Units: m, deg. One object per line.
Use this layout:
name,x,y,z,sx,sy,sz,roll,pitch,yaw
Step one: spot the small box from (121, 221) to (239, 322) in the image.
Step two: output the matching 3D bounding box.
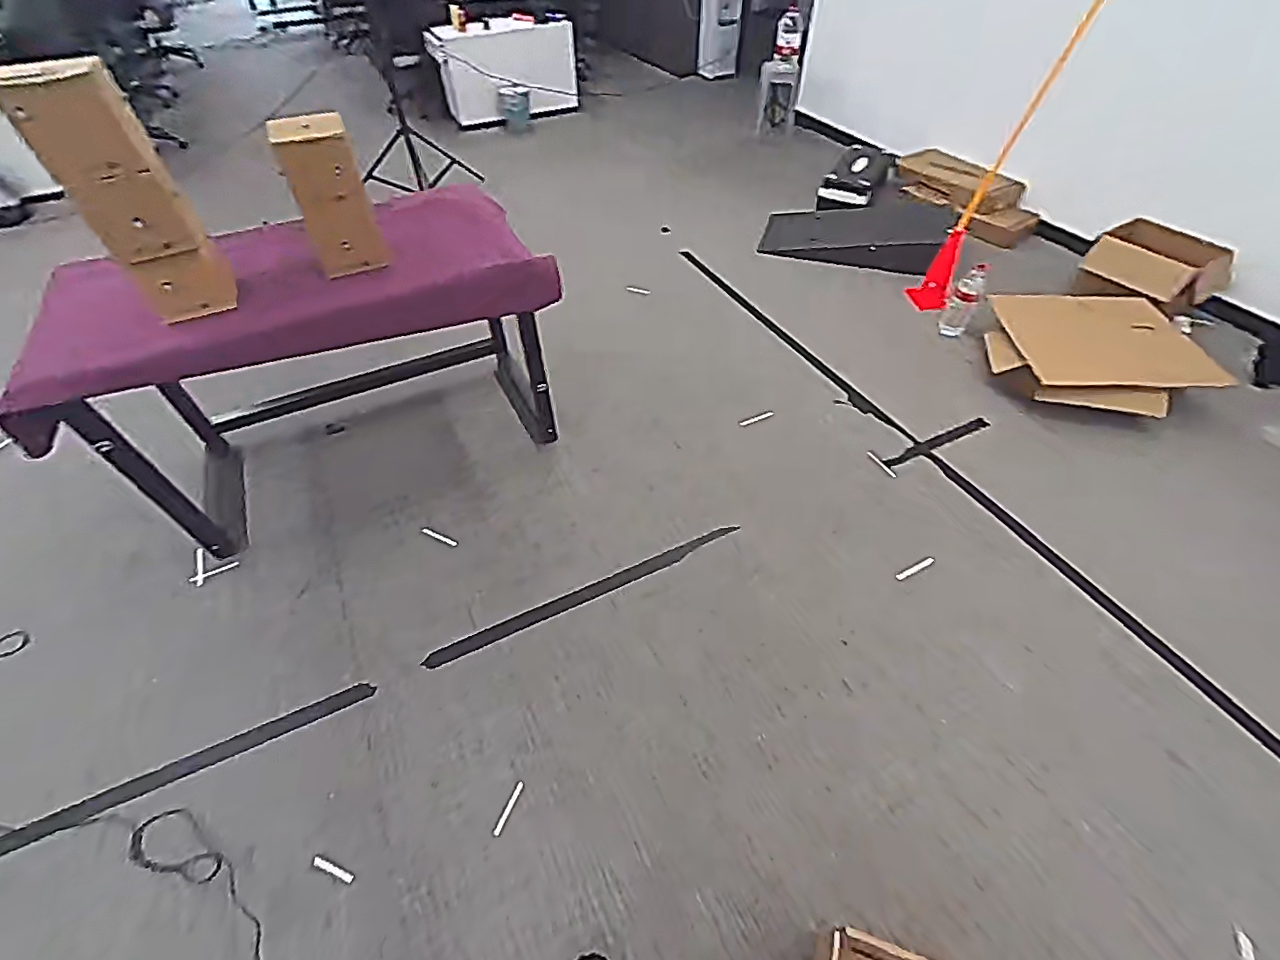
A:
small box,-1.143,-0.515,1.357,0.168,0.176,0.179,-22,52,-17

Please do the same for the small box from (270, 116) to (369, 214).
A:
small box,-0.808,-0.793,1.372,0.168,0.176,0.179,-20,51,-17

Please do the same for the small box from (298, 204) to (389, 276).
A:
small box,-0.815,-0.681,1.490,0.168,0.176,0.179,-21,52,-17

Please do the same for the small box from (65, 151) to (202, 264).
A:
small box,-1.131,-0.609,1.221,0.168,0.176,0.179,-26,54,-20
